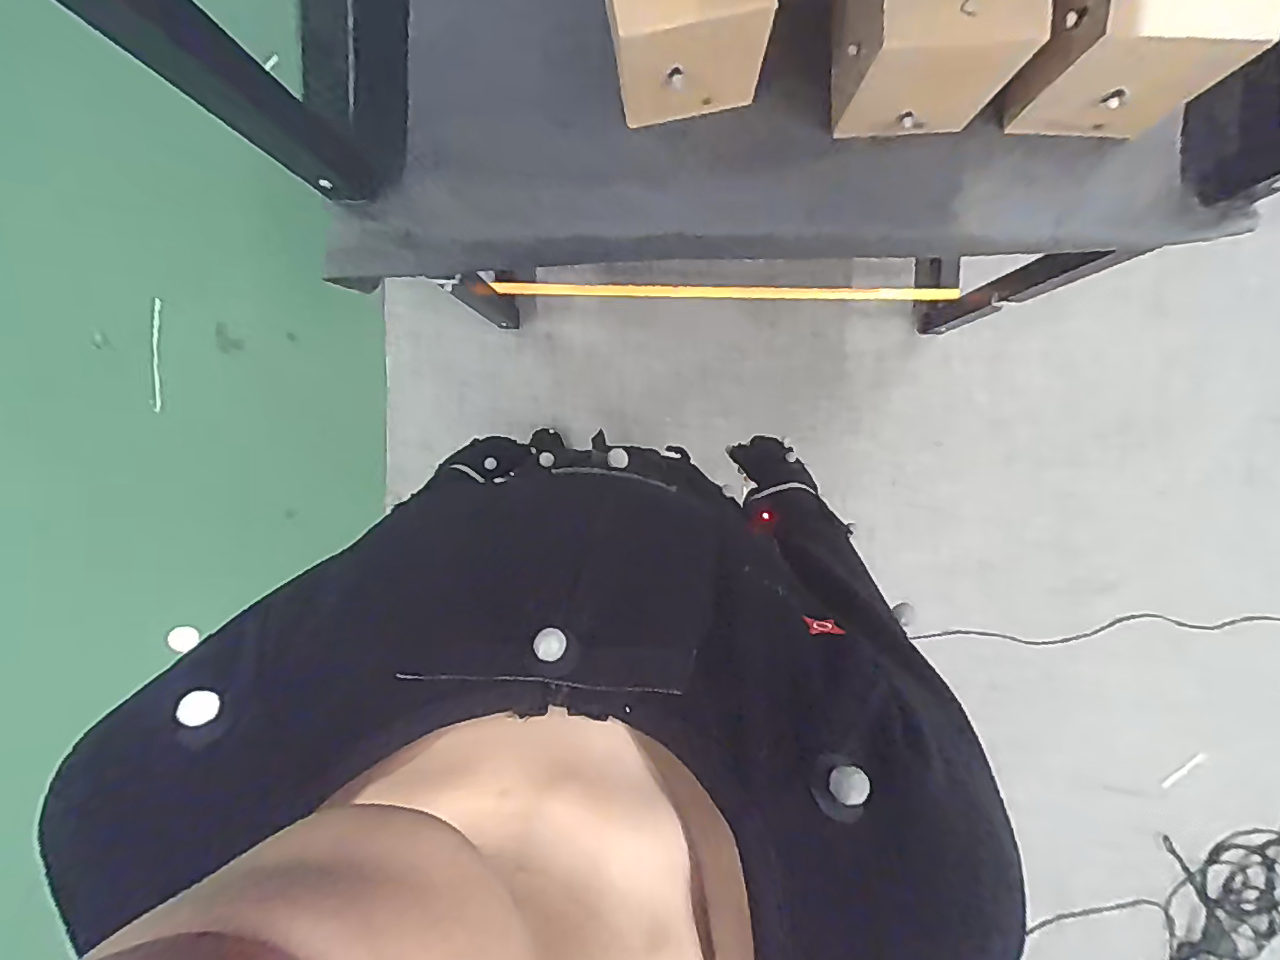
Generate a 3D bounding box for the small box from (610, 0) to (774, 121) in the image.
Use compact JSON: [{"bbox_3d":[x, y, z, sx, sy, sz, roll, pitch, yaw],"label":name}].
[{"bbox_3d":[0.049,-0.554,0.629,0.168,0.176,0.179,-10,93,3],"label":"small box"}]
